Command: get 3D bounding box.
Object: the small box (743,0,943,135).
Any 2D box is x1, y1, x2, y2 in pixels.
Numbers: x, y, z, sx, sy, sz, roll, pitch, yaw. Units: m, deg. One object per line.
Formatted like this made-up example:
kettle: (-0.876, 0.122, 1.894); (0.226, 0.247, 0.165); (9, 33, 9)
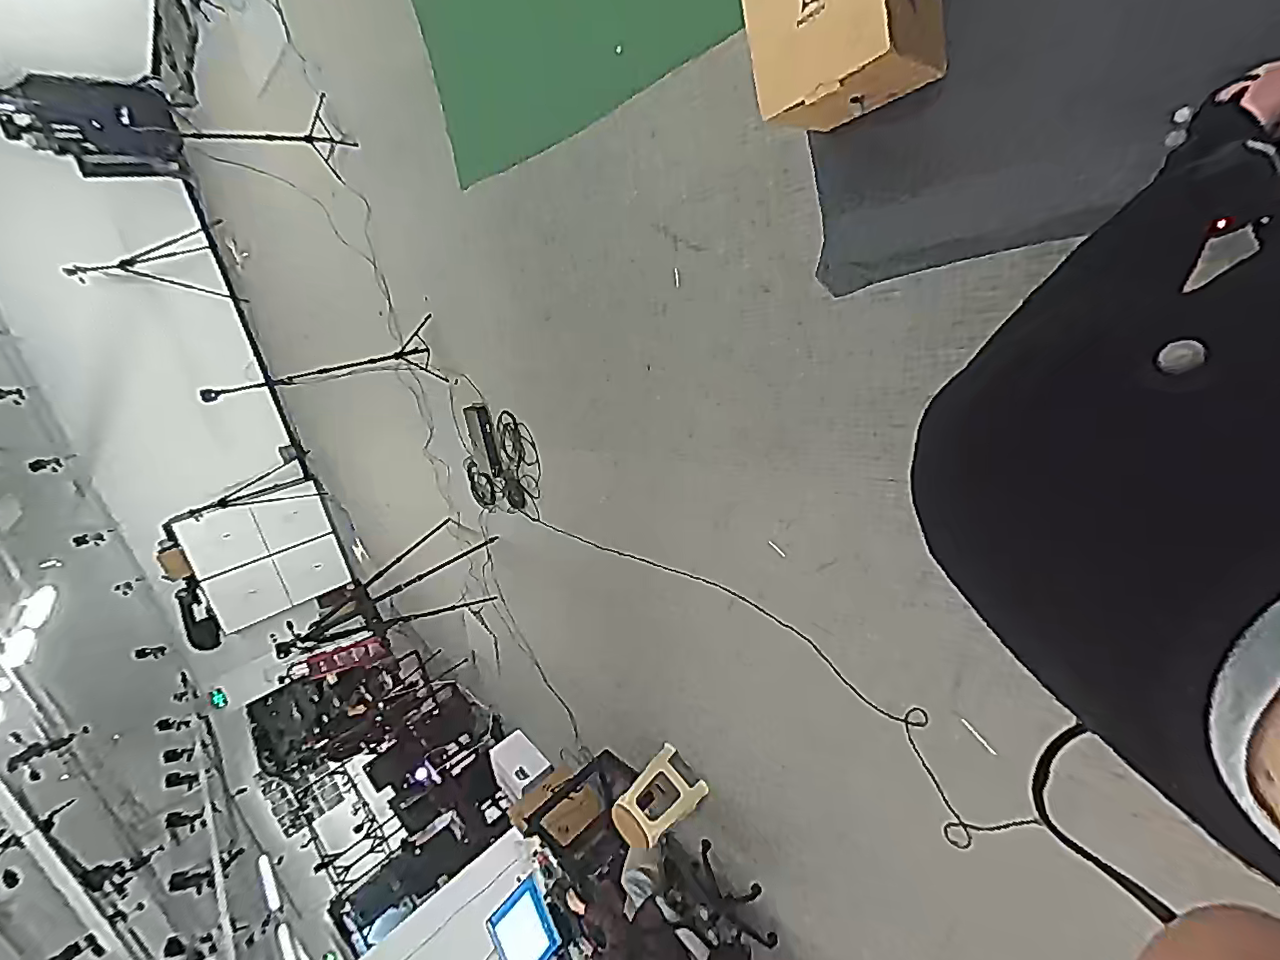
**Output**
small box: (0.251, -0.550, 0.660); (0.168, 0.176, 0.179); (2, 113, 47)
